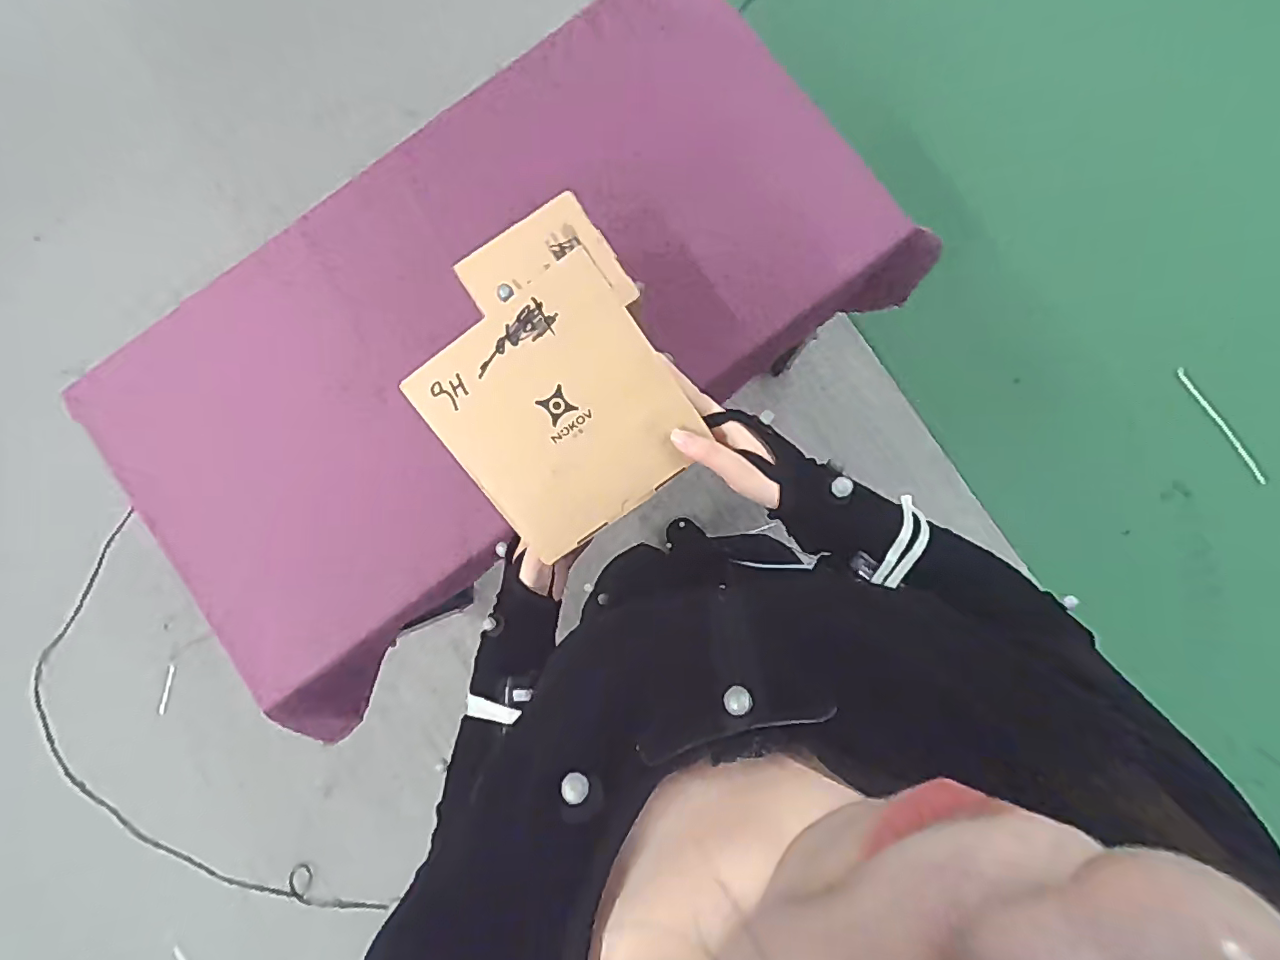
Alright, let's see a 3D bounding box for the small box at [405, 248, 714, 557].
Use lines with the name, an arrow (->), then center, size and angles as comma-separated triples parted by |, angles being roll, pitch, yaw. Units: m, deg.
small box -> -0.059, -0.070, 0.475 | 0.168, 0.176, 0.179 | -34, 103, 5
